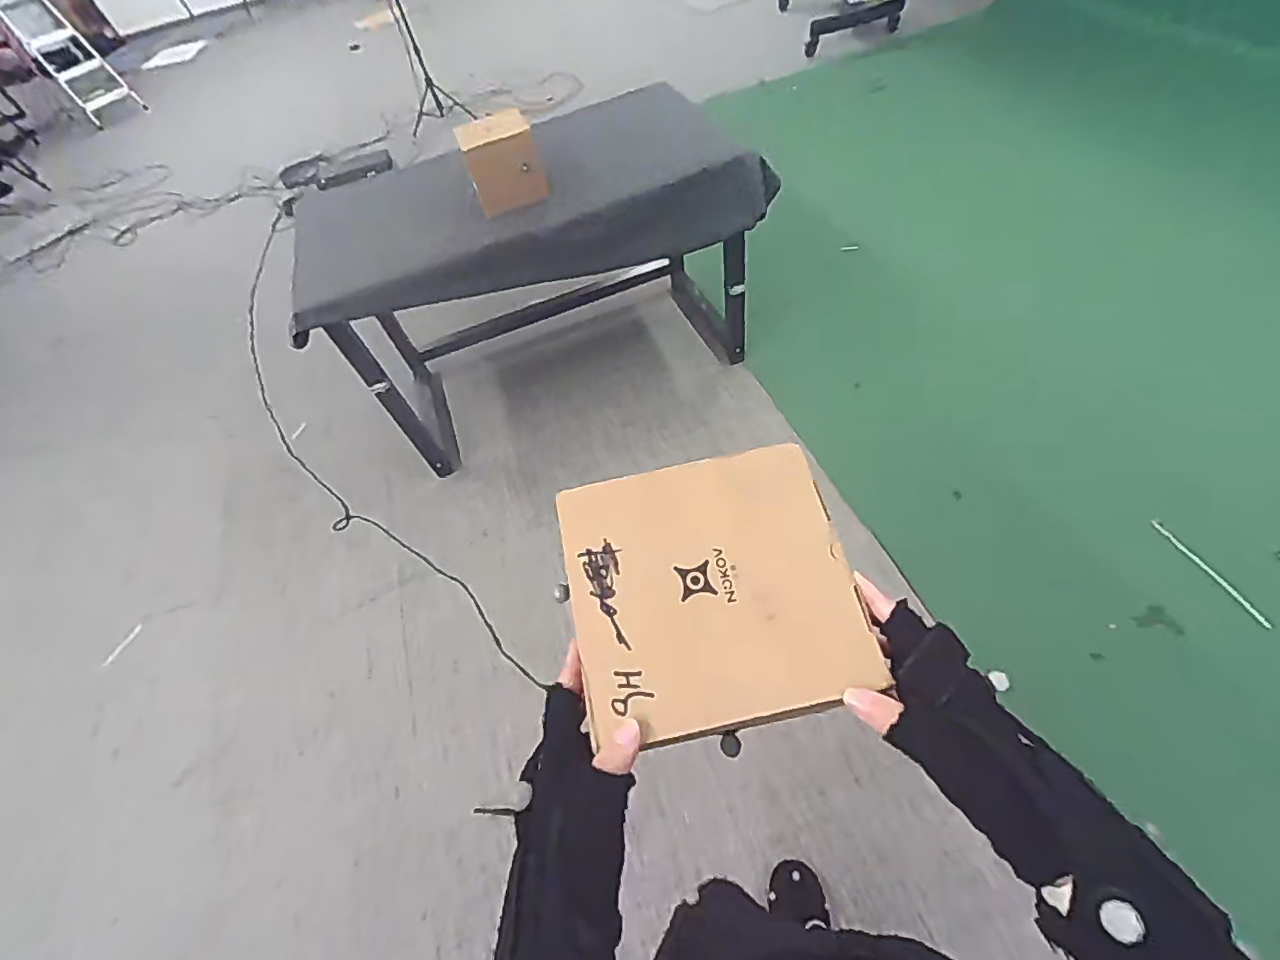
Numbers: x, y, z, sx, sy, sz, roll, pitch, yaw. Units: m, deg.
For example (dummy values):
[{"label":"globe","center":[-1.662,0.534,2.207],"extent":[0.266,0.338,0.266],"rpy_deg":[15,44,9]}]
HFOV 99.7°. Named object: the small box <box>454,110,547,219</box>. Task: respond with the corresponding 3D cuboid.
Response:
[{"label":"small box","center":[-0.352,-0.811,1.395],"extent":[0.179,0.176,0.168],"rpy_deg":[-24,53,-5]}]
